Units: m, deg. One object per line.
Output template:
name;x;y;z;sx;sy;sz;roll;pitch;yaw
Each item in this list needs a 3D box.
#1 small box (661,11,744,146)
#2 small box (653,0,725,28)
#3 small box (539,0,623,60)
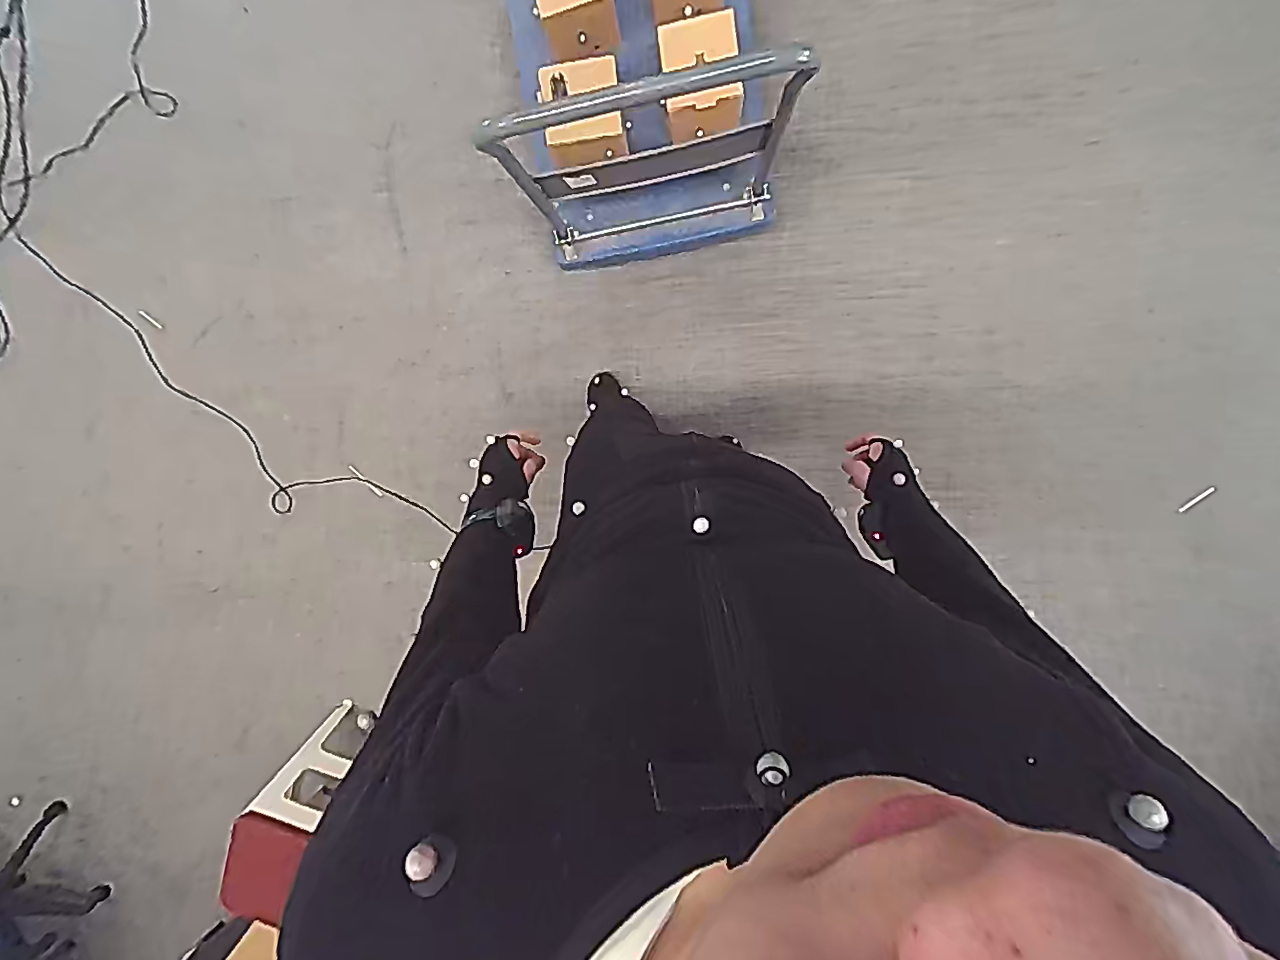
small box;0.144;-0.921;1.256;0.168;0.176;0.179;-8;97;8
small box;0.098;-1.186;1.227;0.168;0.176;0.179;-12;97;9
small box;-0.145;-1.131;1.264;0.168;0.176;0.179;-13;96;7
